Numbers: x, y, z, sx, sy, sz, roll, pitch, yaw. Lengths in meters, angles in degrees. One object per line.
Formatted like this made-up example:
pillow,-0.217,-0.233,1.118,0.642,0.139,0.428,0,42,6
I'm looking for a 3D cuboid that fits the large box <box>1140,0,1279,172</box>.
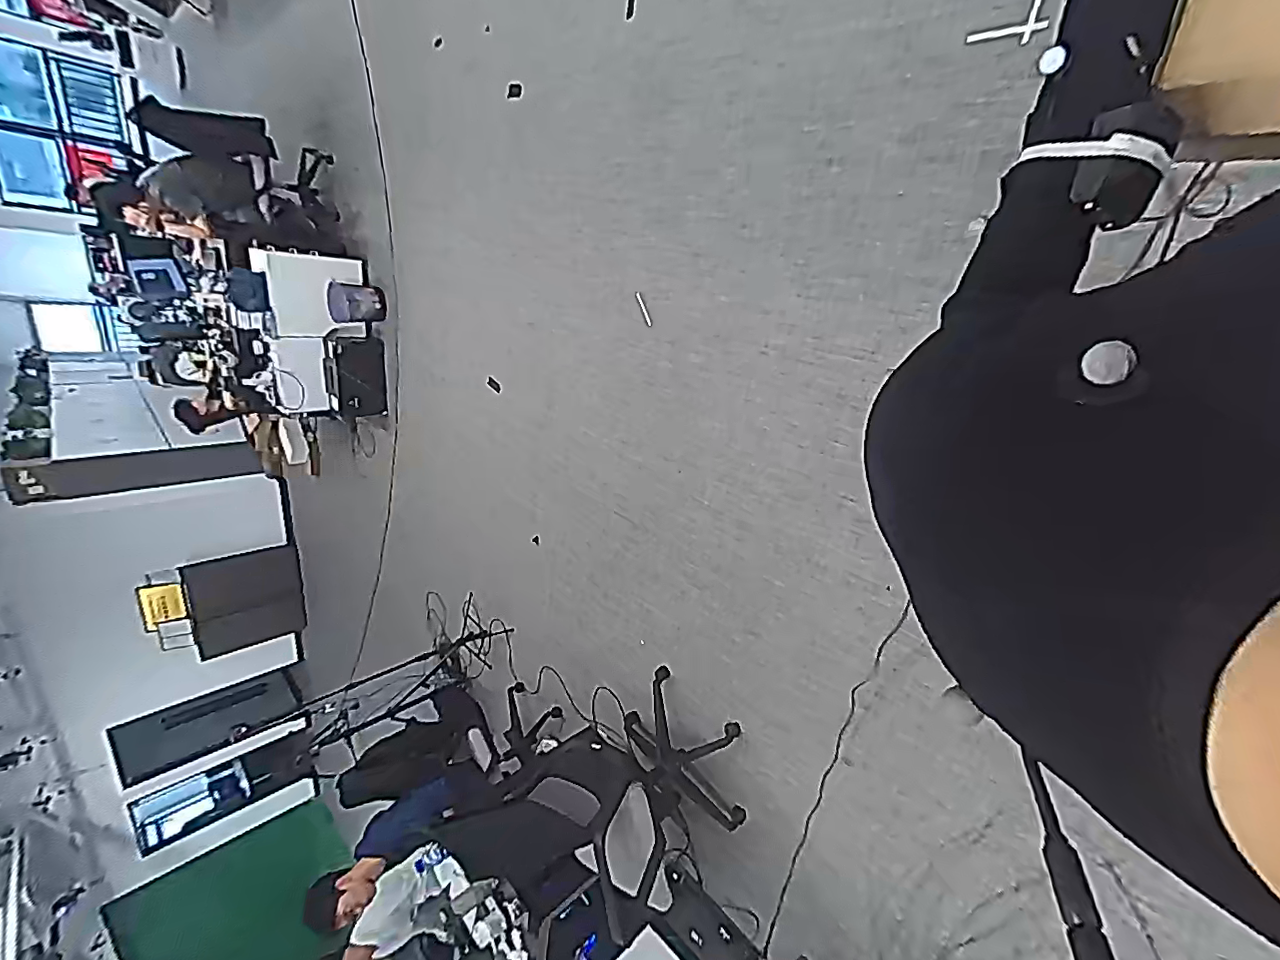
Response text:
large box,0.619,-0.379,0.322,0.408,0.320,0.320,22,125,38
